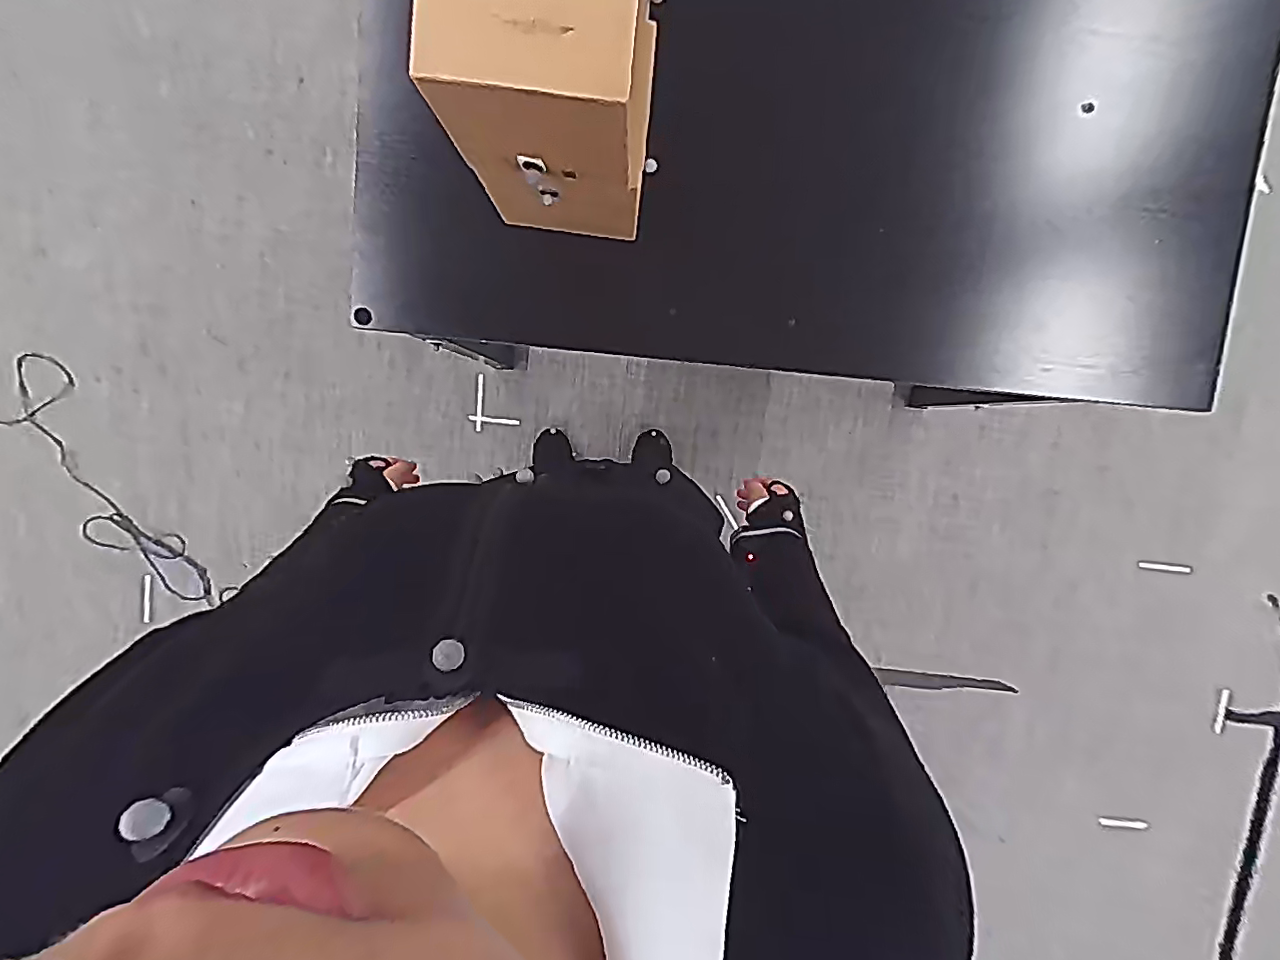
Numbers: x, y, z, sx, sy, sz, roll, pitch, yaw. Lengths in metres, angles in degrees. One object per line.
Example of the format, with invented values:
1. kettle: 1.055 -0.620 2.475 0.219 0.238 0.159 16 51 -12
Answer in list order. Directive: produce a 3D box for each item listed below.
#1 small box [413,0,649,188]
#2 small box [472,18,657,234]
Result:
1. small box: -0.080 -0.389 0.474 0.168 0.176 0.179 6 97 -1
2. small box: -0.081 -0.408 0.635 0.179 0.176 0.168 7 96 -3
